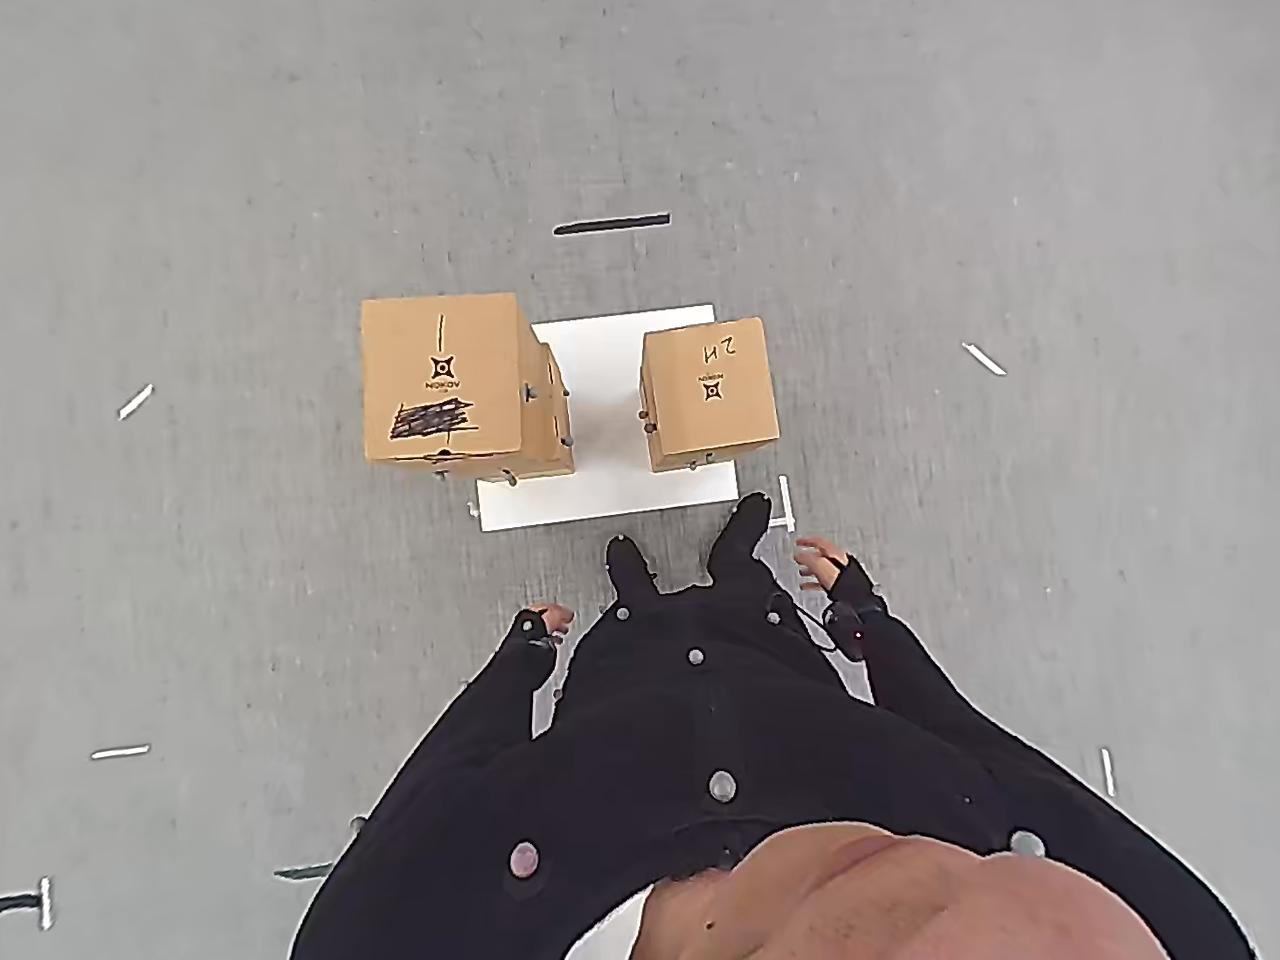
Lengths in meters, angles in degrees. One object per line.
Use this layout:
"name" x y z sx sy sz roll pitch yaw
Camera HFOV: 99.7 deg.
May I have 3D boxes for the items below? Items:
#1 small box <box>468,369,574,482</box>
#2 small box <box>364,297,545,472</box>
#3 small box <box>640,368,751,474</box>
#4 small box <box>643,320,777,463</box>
"small box" -0.215 -0.089 0.980 0.168 0.176 0.179 -6 87 -3
"small box" -0.209 -0.101 0.651 0.168 0.176 0.179 -3 86 -2
"small box" 0.093 -0.114 0.991 0.168 0.176 0.179 -9 87 -1
"small box" 0.098 -0.123 0.826 0.168 0.176 0.179 -9 87 -2
